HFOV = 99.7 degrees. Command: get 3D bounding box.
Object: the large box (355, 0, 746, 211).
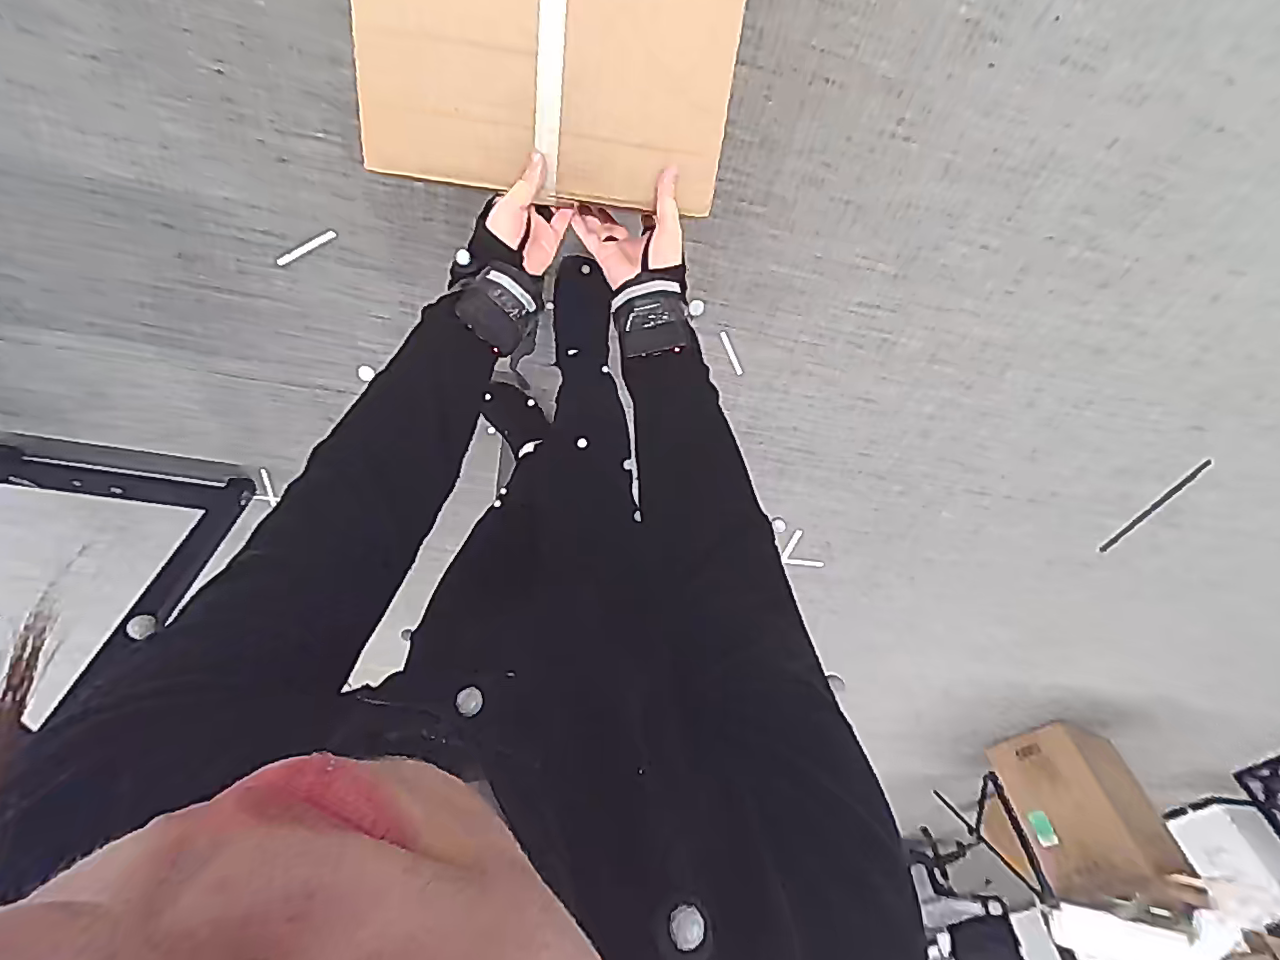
[{"bbox_3d":[-0.070,-0.507,0.539,0.320,0.320,0.408,5,115,-7],"label":"large box"}]
